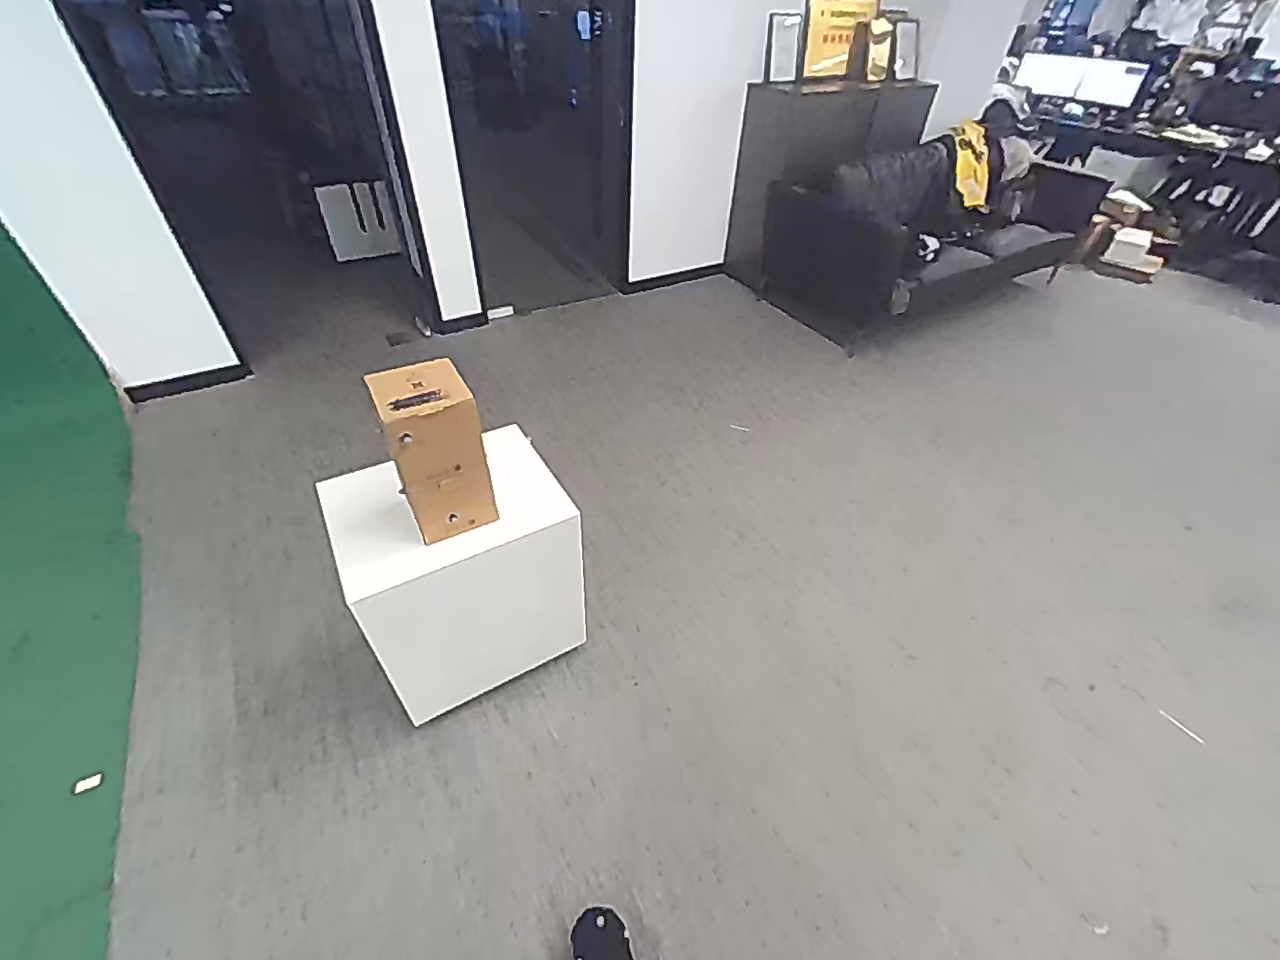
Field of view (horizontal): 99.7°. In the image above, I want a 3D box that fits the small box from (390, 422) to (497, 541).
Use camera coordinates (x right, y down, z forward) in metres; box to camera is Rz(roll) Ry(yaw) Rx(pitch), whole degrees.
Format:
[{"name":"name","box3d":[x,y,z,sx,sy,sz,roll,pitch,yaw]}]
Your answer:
[{"name":"small box","box3d":[-0.428,0.003,1.189,0.168,0.176,0.179,-20,46,-24]}]
